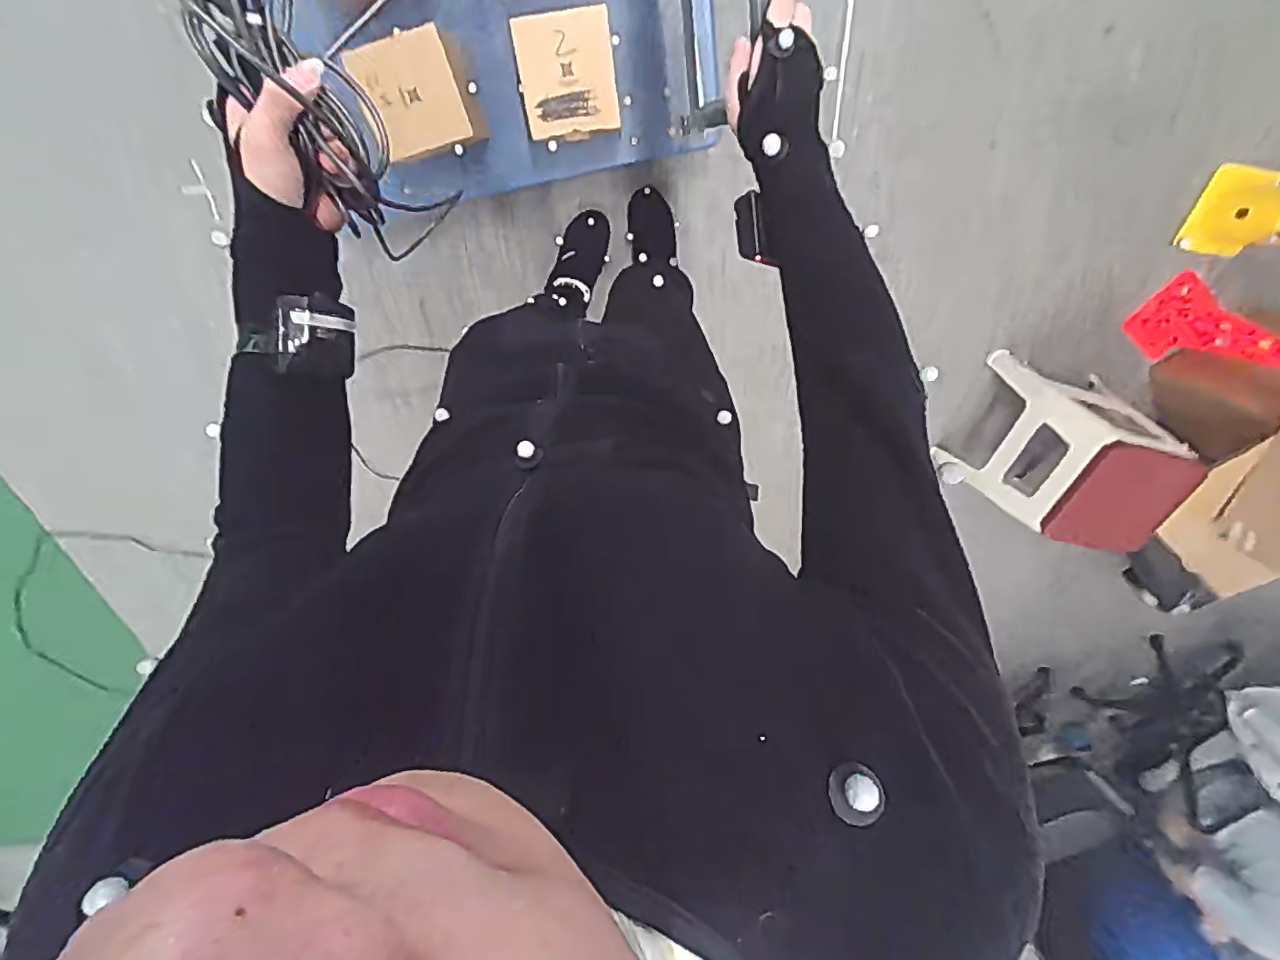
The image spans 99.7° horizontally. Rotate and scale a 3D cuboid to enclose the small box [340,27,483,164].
[{"bbox_3d":[-0.409,-0.707,1.008,0.179,0.176,0.168,-13,121,5],"label":"small box"}]
